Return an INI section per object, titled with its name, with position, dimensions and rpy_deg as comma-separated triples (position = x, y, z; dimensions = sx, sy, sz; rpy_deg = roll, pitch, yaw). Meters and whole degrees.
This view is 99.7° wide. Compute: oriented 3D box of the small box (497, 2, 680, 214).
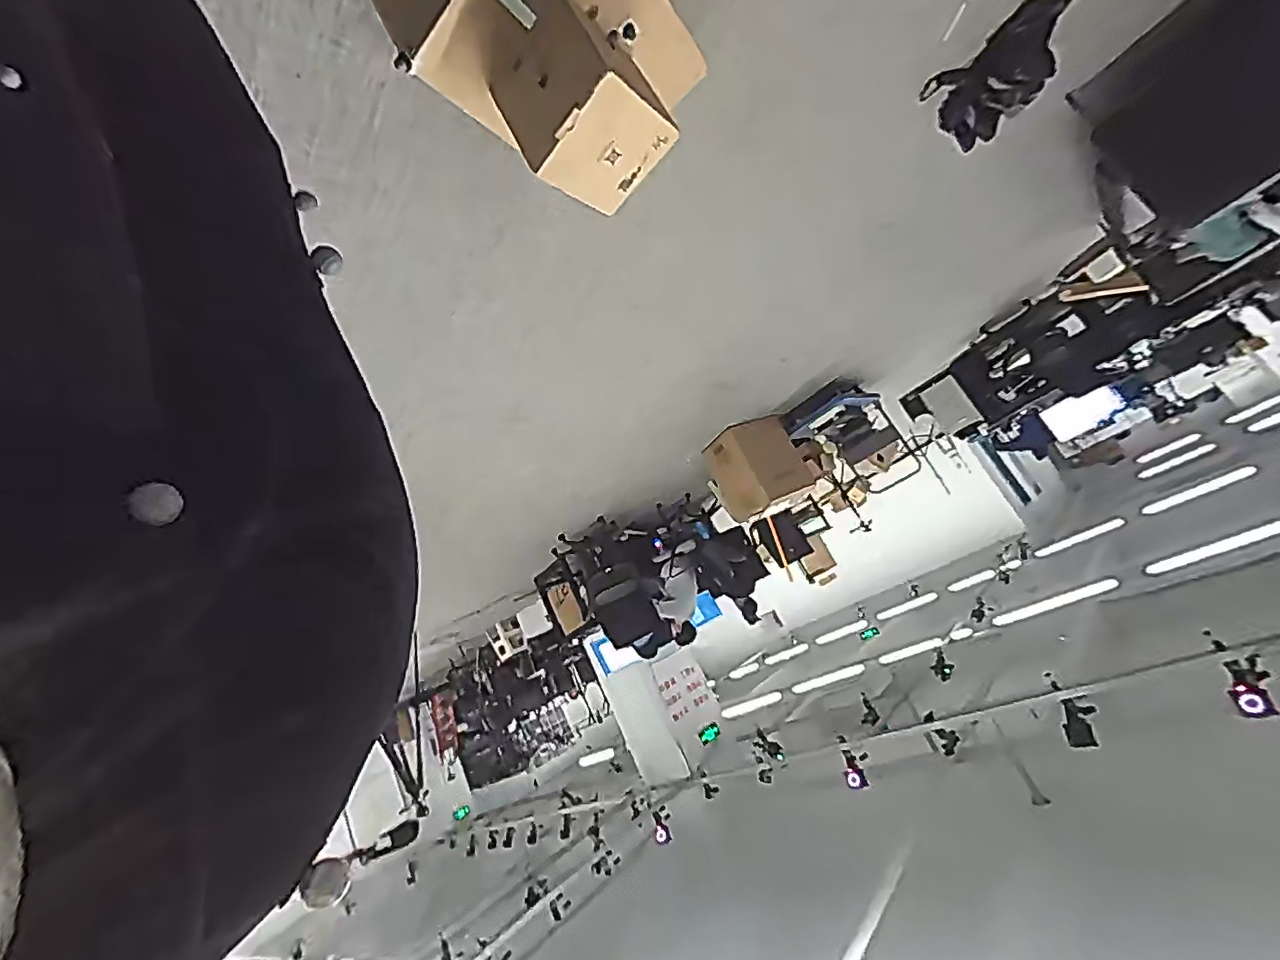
[small box]
position = -0.080, -0.541, 0.797
dimensions = 0.168, 0.176, 0.179
rpy_deg = -37, 162, 32
